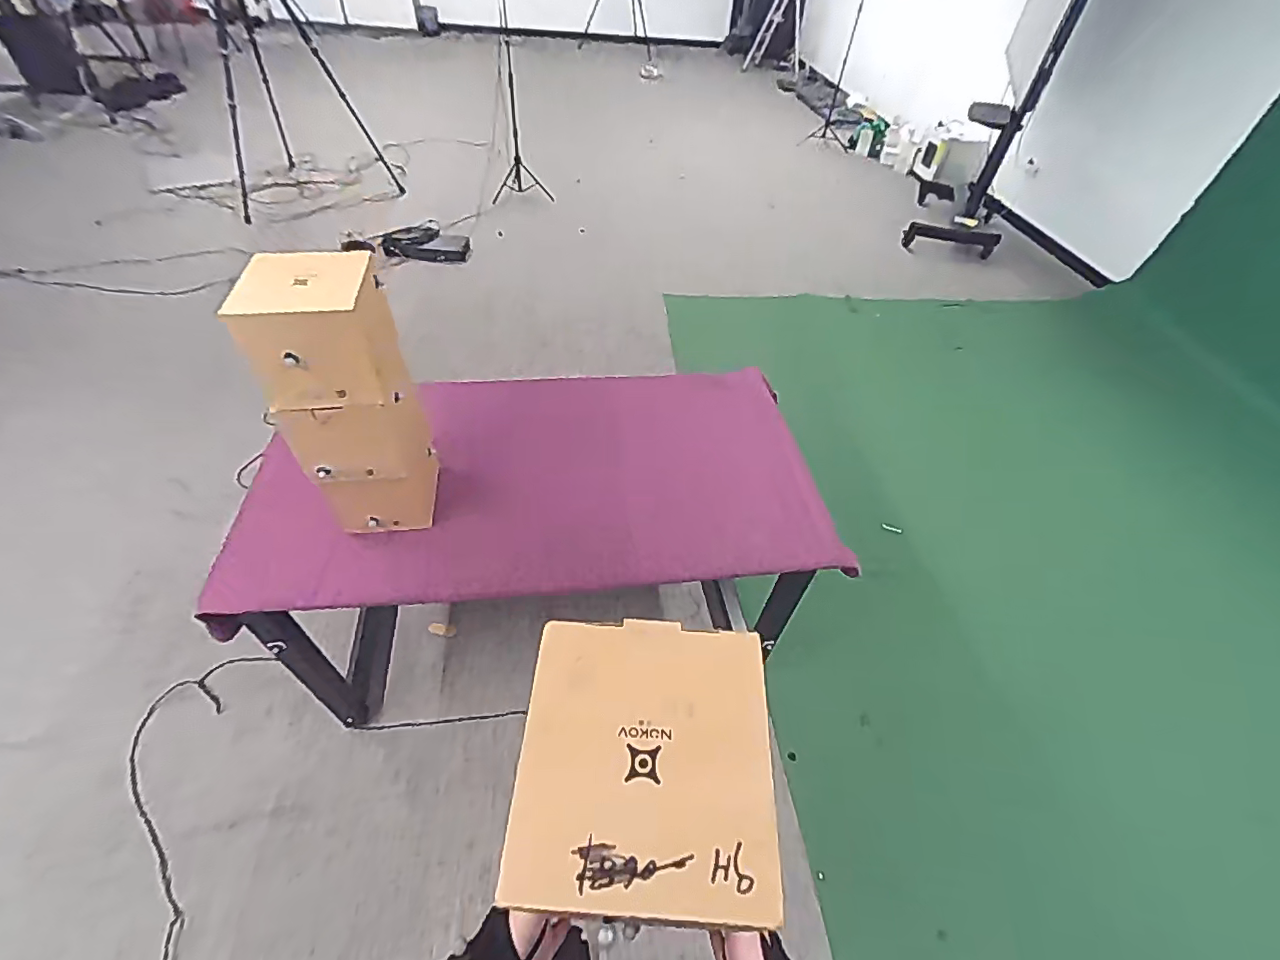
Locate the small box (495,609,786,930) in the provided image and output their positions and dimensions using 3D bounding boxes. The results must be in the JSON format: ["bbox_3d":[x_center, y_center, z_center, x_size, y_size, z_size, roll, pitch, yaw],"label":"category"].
[{"bbox_3d":[0.005,0.220,0.411,0.168,0.176,0.179,3,50,3],"label":"small box"}]

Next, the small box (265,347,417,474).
[{"bbox_3d":[-0.495,-0.123,0.928,0.168,0.176,0.179,-3,47,-8],"label":"small box"}]

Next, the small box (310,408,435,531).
[{"bbox_3d":[-0.507,-0.021,1.055,0.168,0.176,0.179,-3,49,-9],"label":"small box"}]

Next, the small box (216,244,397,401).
[{"bbox_3d":[-0.477,-0.231,0.808,0.168,0.176,0.179,-5,48,-10],"label":"small box"}]
